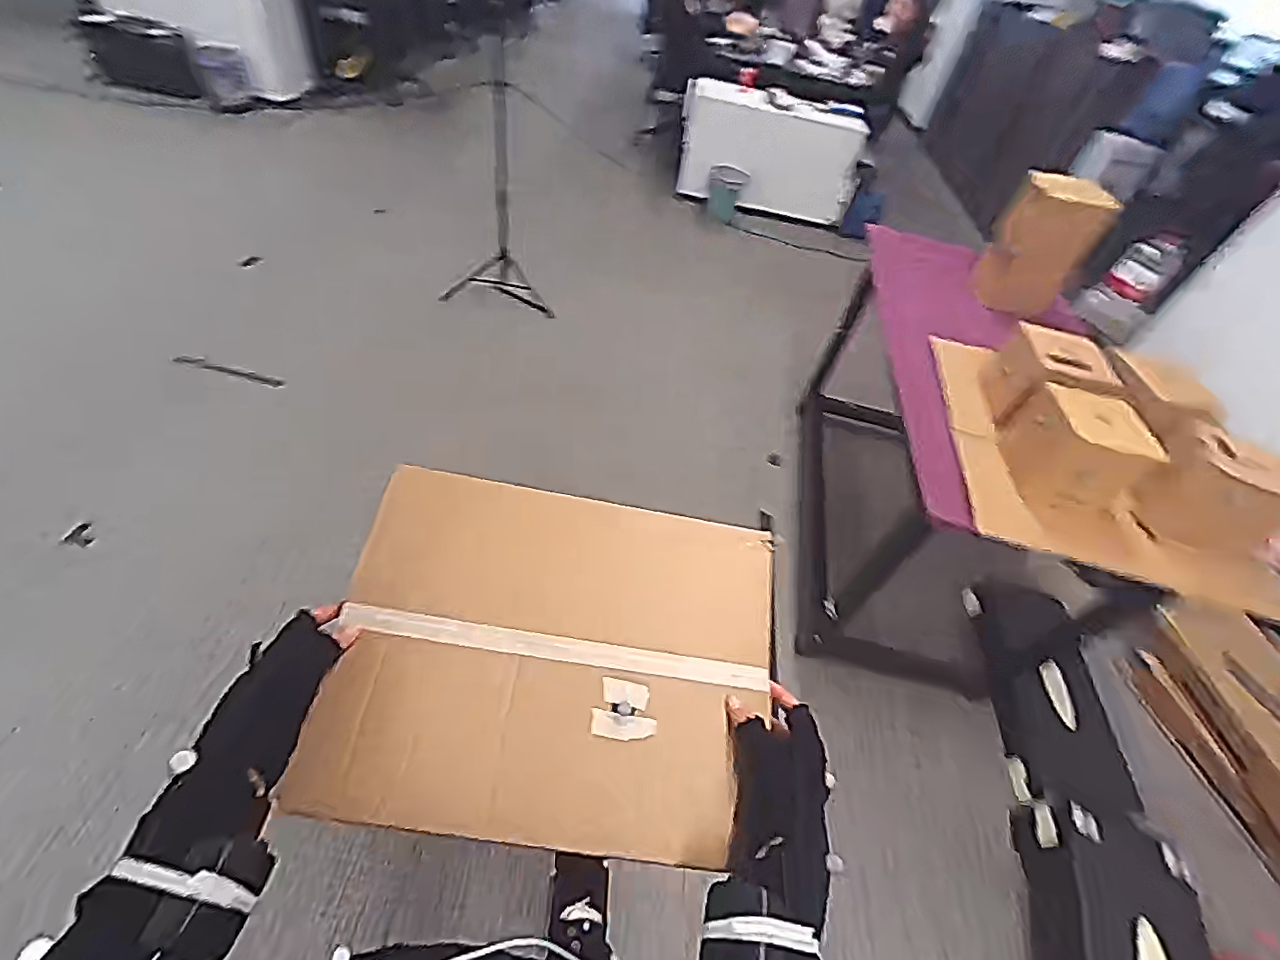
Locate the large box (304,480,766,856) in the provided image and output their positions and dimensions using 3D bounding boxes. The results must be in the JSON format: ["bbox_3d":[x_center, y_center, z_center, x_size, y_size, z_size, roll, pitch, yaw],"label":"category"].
[{"bbox_3d":[-0.093,0.230,0.661,0.408,0.320,0.320,11,64,-5],"label":"large box"}]
